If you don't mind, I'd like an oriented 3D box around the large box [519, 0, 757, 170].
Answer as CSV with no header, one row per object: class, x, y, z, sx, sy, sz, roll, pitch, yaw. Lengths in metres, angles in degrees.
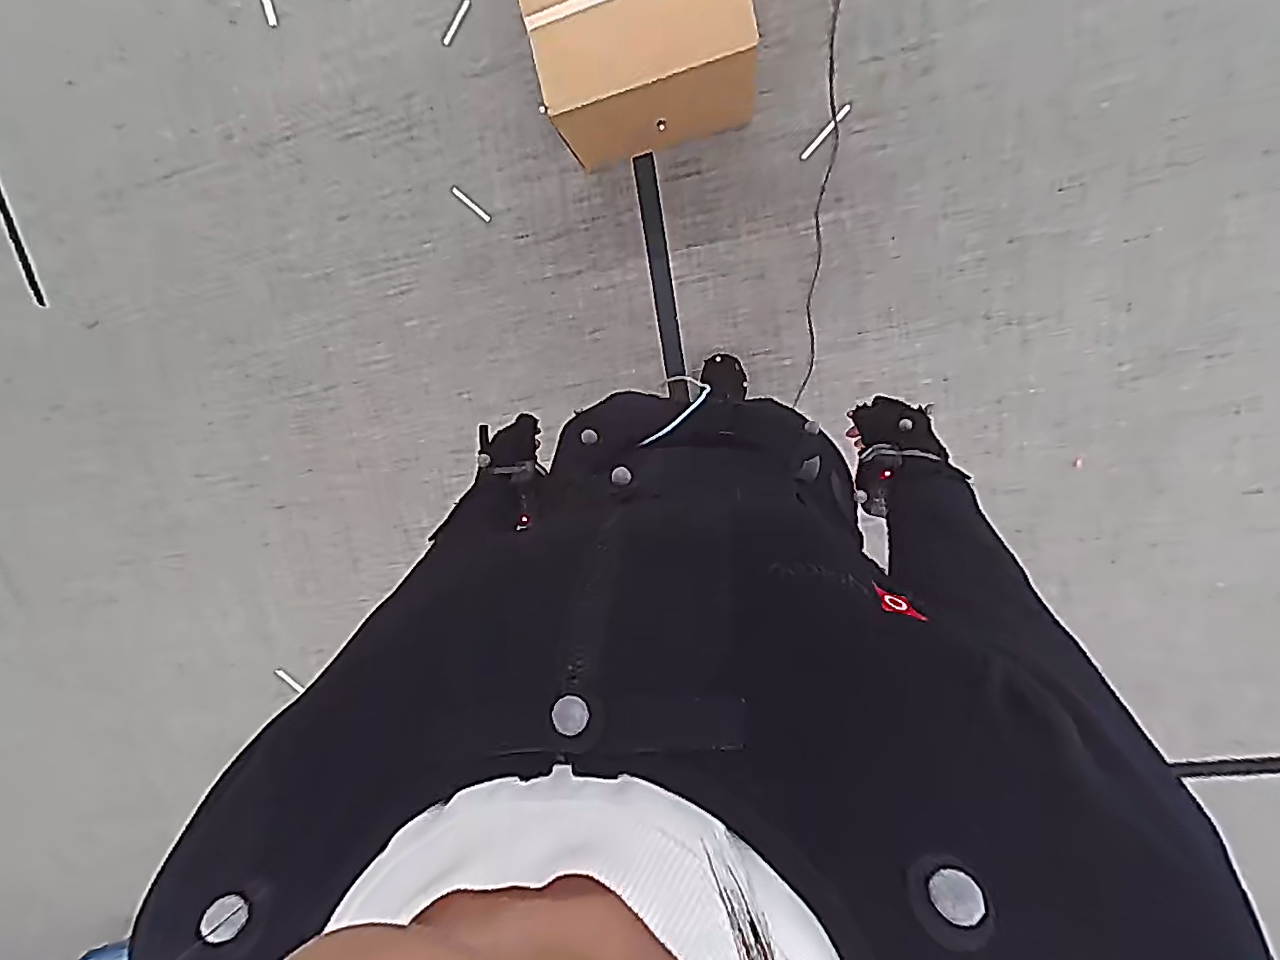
large box,0.006,-0.898,1.104,0.408,0.320,0.320,-11,99,12
